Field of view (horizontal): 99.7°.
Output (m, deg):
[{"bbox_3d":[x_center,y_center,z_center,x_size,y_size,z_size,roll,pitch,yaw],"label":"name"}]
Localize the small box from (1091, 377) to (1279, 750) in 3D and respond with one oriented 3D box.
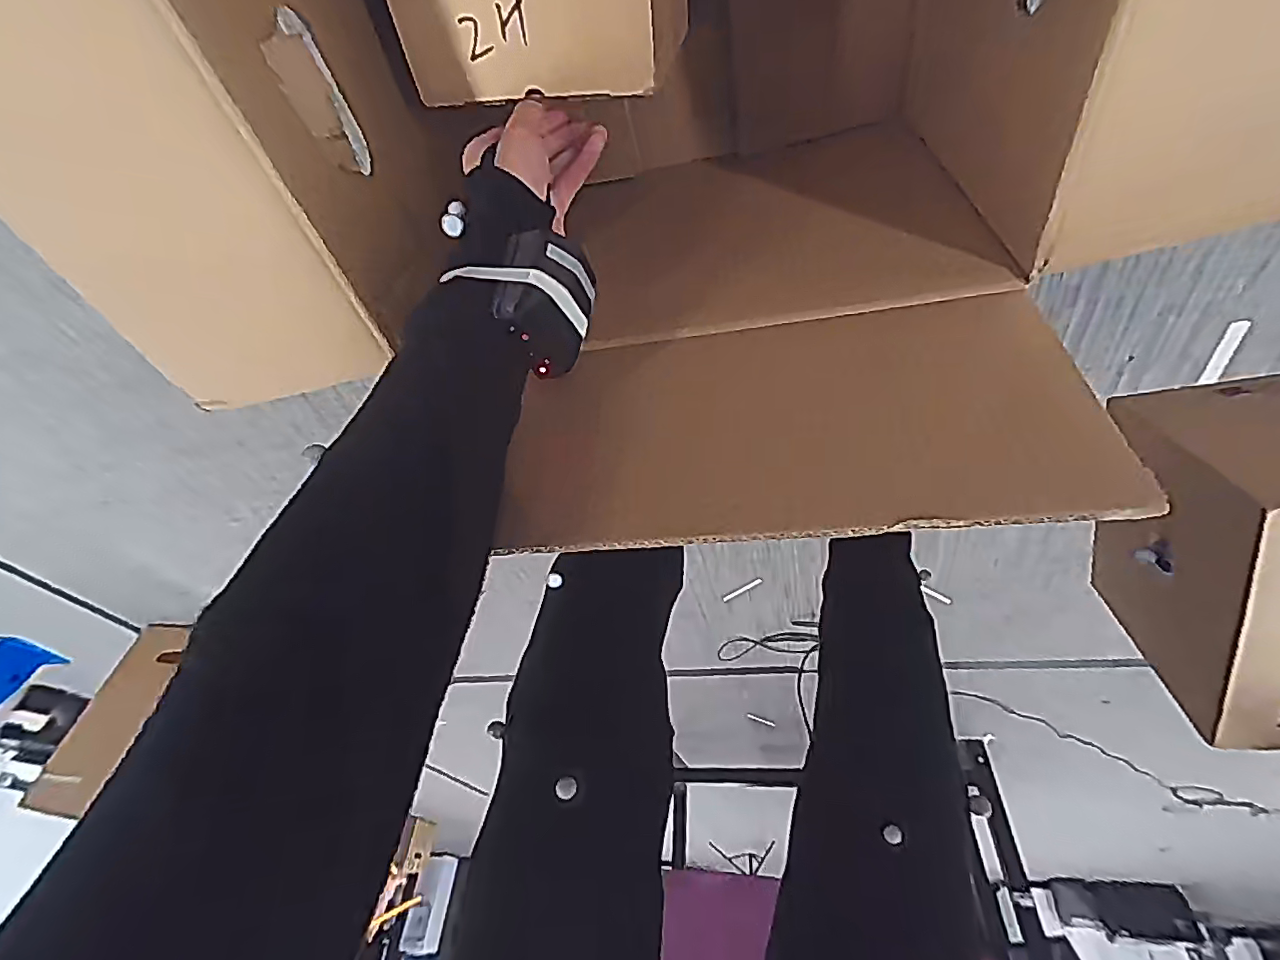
[{"bbox_3d":[0.422,0.044,0.341,0.168,0.176,0.179,-7,114,20],"label":"small box"}]
